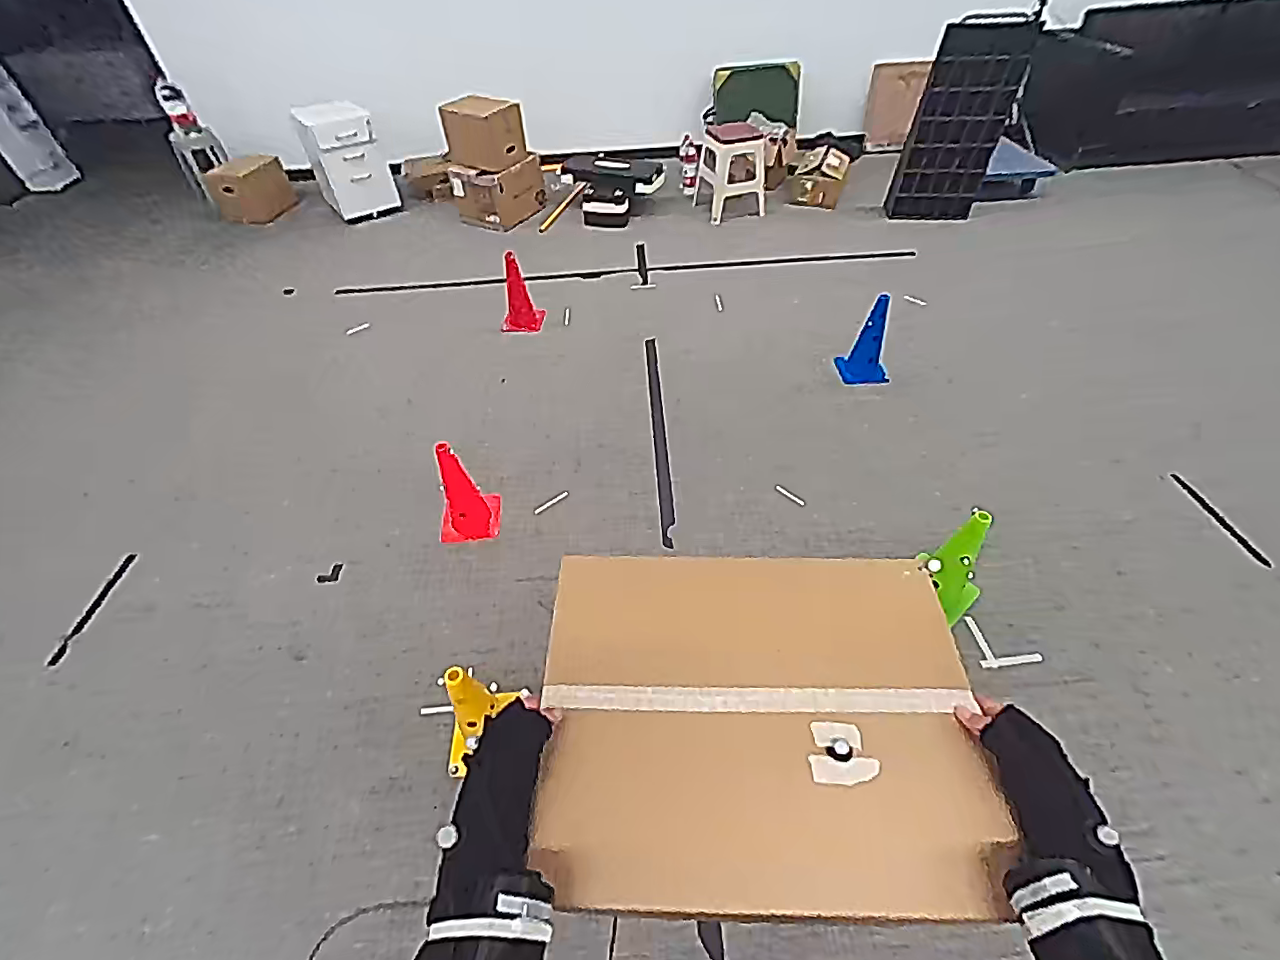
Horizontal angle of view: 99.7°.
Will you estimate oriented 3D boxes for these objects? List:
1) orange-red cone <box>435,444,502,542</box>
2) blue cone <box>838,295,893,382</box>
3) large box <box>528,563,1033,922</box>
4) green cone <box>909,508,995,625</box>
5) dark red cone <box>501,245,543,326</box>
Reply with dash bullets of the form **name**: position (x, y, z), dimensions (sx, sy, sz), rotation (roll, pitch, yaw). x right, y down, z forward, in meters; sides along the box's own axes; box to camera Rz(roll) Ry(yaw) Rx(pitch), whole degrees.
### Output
- **orange-red cone**: position (-0.601, 0.021, 1.787), dimensions (0.198, 0.360, 0.199), rotation (-6, 49, -2)
- **blue cone**: position (0.992, -0.609, 2.304), dimensions (0.192, 0.380, 0.193), rotation (-1, 48, 1)
- **large box**: position (0.110, 0.309, 0.628), dimensions (0.408, 0.320, 0.320), rotation (0, 50, 1)
- **green cone**: position (0.903, 0.212, 1.530), dimensions (0.202, 0.368, 0.200), rotation (-33, 55, -26)
- **dark red cone**: position (-0.605, -0.952, 2.650), dimensions (0.201, 0.394, 0.202), rotation (1, 48, 2)
